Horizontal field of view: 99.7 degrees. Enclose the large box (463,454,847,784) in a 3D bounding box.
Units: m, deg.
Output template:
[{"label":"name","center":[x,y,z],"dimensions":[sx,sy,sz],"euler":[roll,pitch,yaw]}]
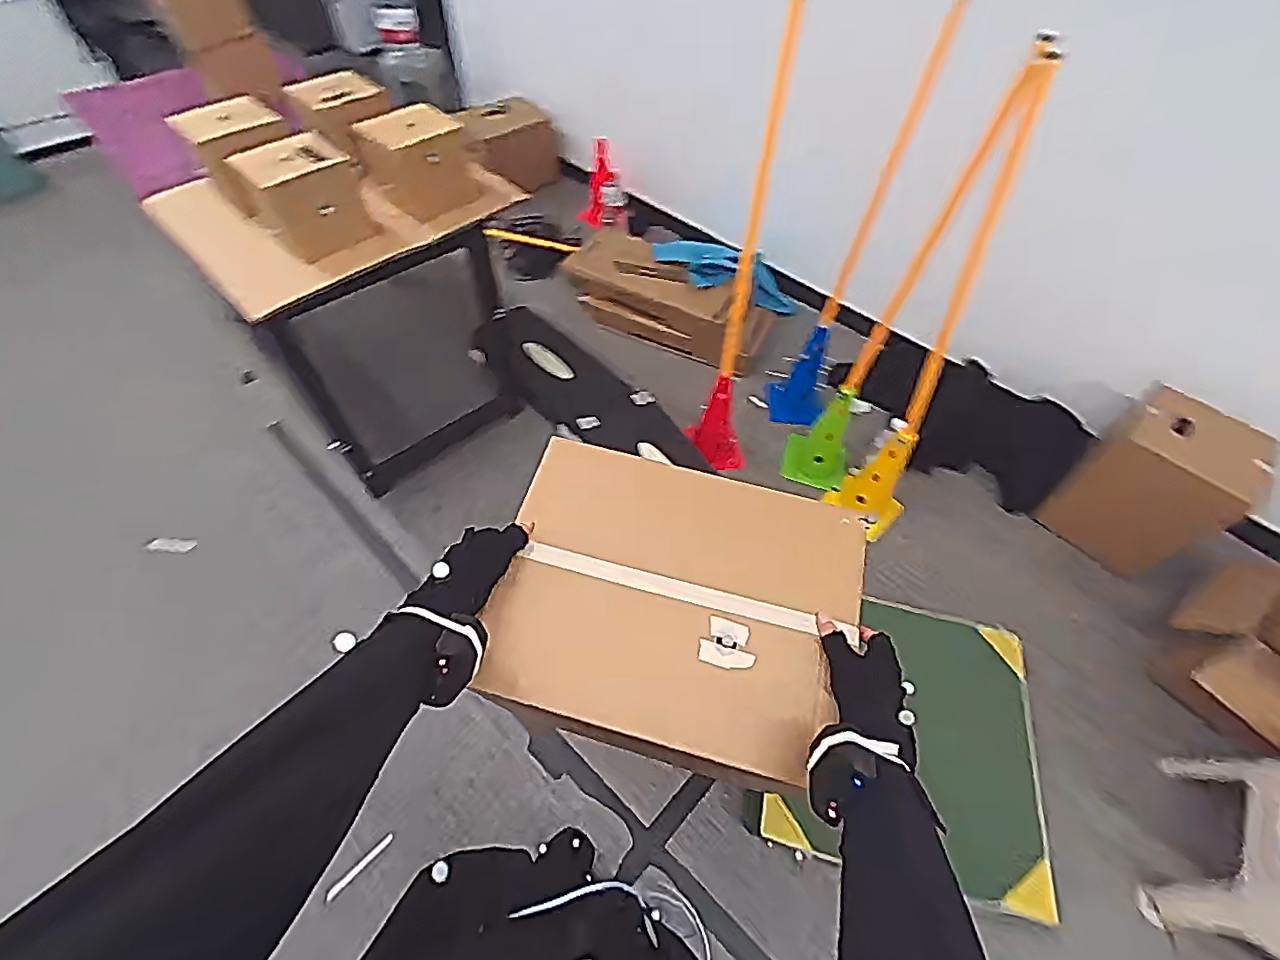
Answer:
[{"label":"large box","center":[0.028,0.206,0.757],"dimensions":[0.408,0.320,0.320],"euler":[13,62,4]}]
